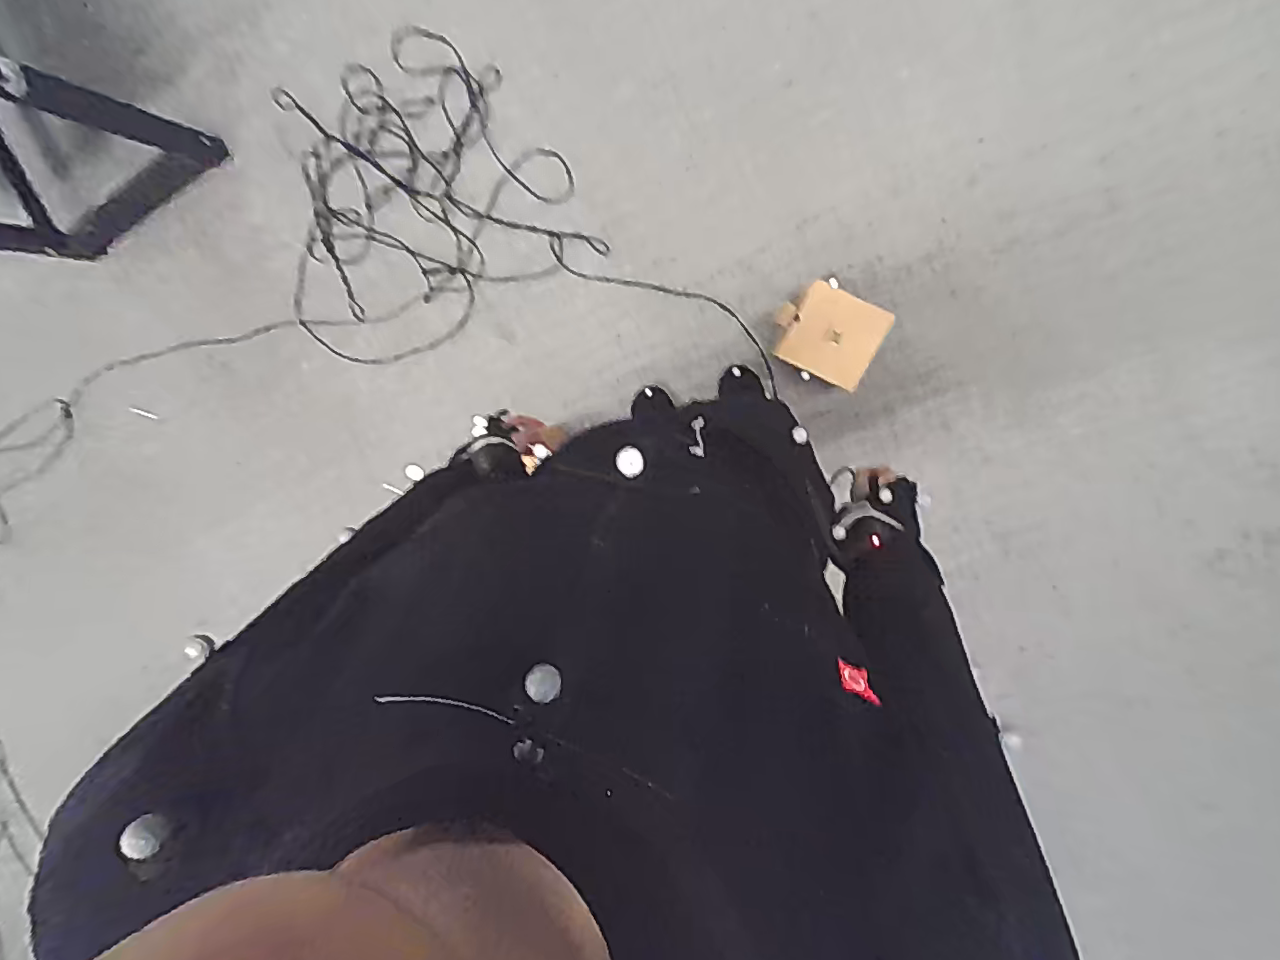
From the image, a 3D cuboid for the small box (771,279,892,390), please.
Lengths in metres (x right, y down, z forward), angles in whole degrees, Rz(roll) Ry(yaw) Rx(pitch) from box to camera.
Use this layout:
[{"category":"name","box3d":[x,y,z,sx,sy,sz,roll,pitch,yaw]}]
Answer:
[{"category":"small box","box3d":[0.396,-0.310,1.153,0.179,0.176,0.168,27,108,3]}]
